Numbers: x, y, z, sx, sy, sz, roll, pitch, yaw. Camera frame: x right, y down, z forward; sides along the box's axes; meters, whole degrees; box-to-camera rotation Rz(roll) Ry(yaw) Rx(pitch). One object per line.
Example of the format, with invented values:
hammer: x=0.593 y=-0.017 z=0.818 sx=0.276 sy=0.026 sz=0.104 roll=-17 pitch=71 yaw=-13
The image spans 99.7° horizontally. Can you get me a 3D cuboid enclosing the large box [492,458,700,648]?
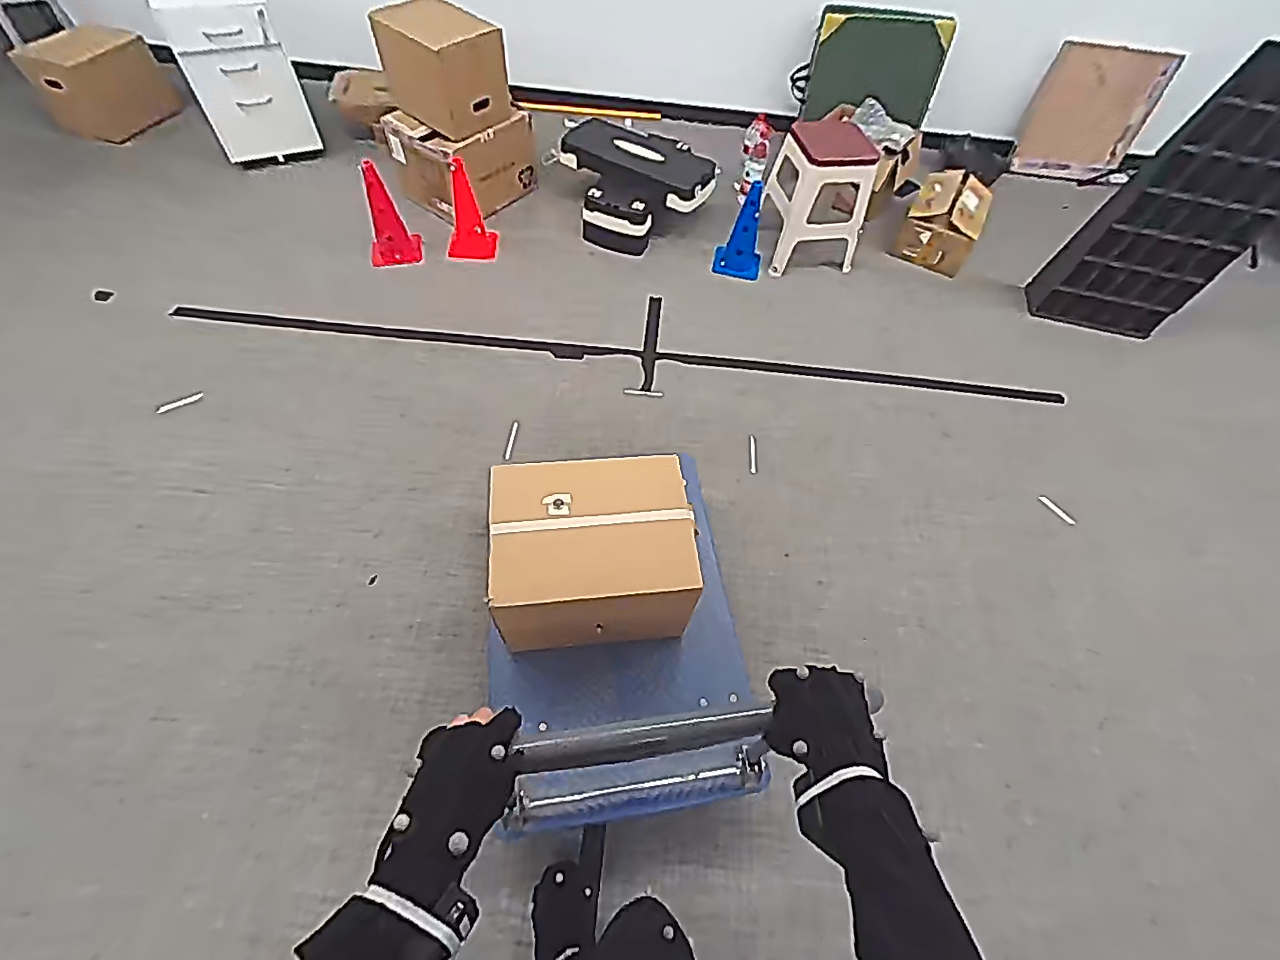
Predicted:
large box: x=-0.104 y=0.174 z=1.228 sx=0.408 sy=0.320 sz=0.320 roll=-4 pitch=58 yaw=-6
